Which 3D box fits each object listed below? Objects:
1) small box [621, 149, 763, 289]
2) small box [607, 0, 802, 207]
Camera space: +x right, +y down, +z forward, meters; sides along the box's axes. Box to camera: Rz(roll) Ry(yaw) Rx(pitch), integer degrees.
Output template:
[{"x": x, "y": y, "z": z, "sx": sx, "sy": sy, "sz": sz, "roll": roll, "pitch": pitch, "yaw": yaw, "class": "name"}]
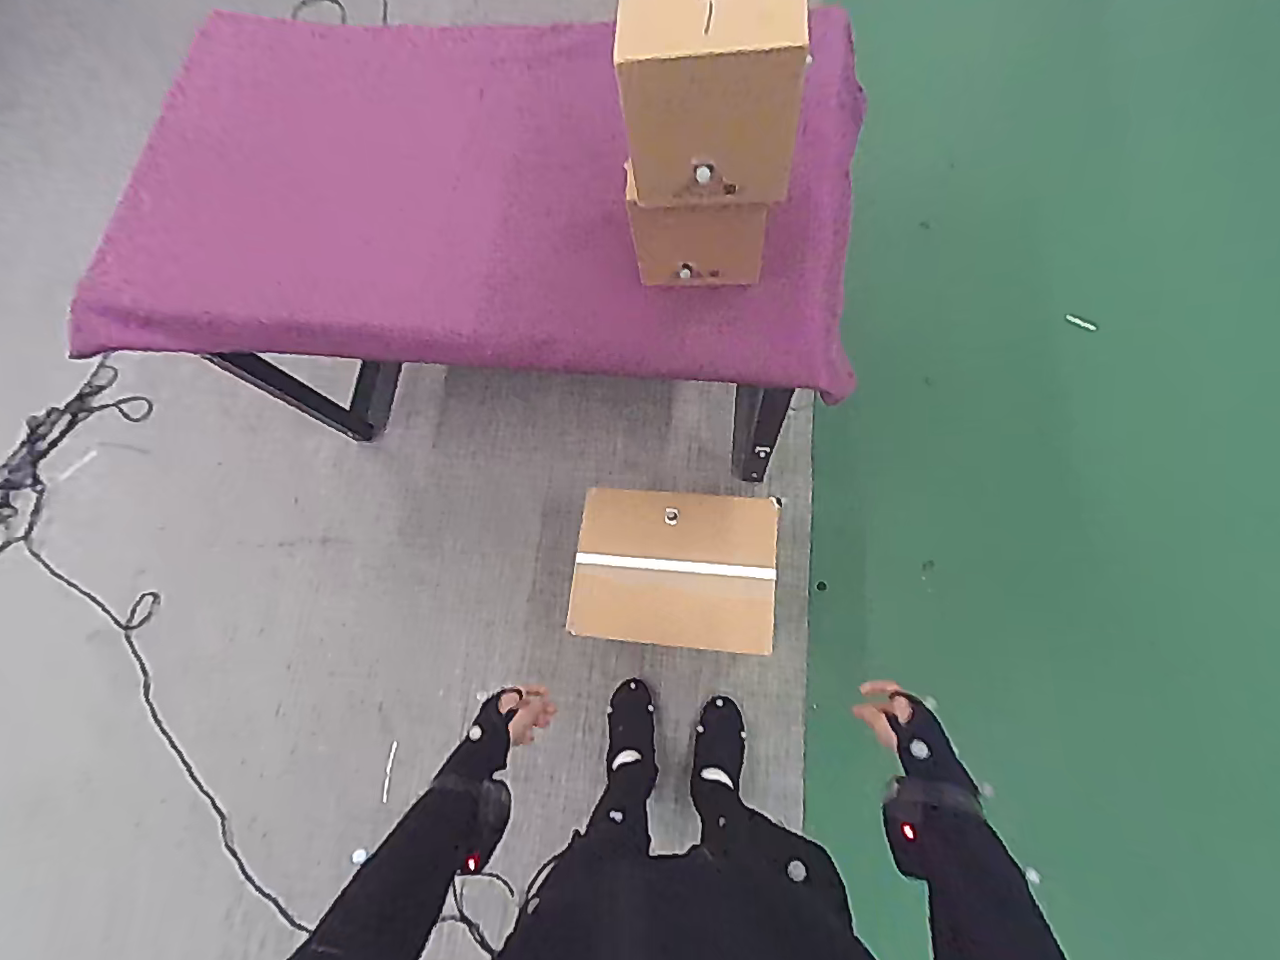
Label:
[{"x": 0.074, "y": -0.378, "z": 0.715, "sx": 0.168, "sy": 0.176, "sz": 0.179, "roll": 2, "pitch": 73, "yaw": 9, "class": "small box"}, {"x": 0.069, "y": -0.413, "z": 0.553, "sx": 0.168, "sy": 0.176, "sz": 0.179, "roll": 2, "pitch": 73, "yaw": 9, "class": "small box"}]
